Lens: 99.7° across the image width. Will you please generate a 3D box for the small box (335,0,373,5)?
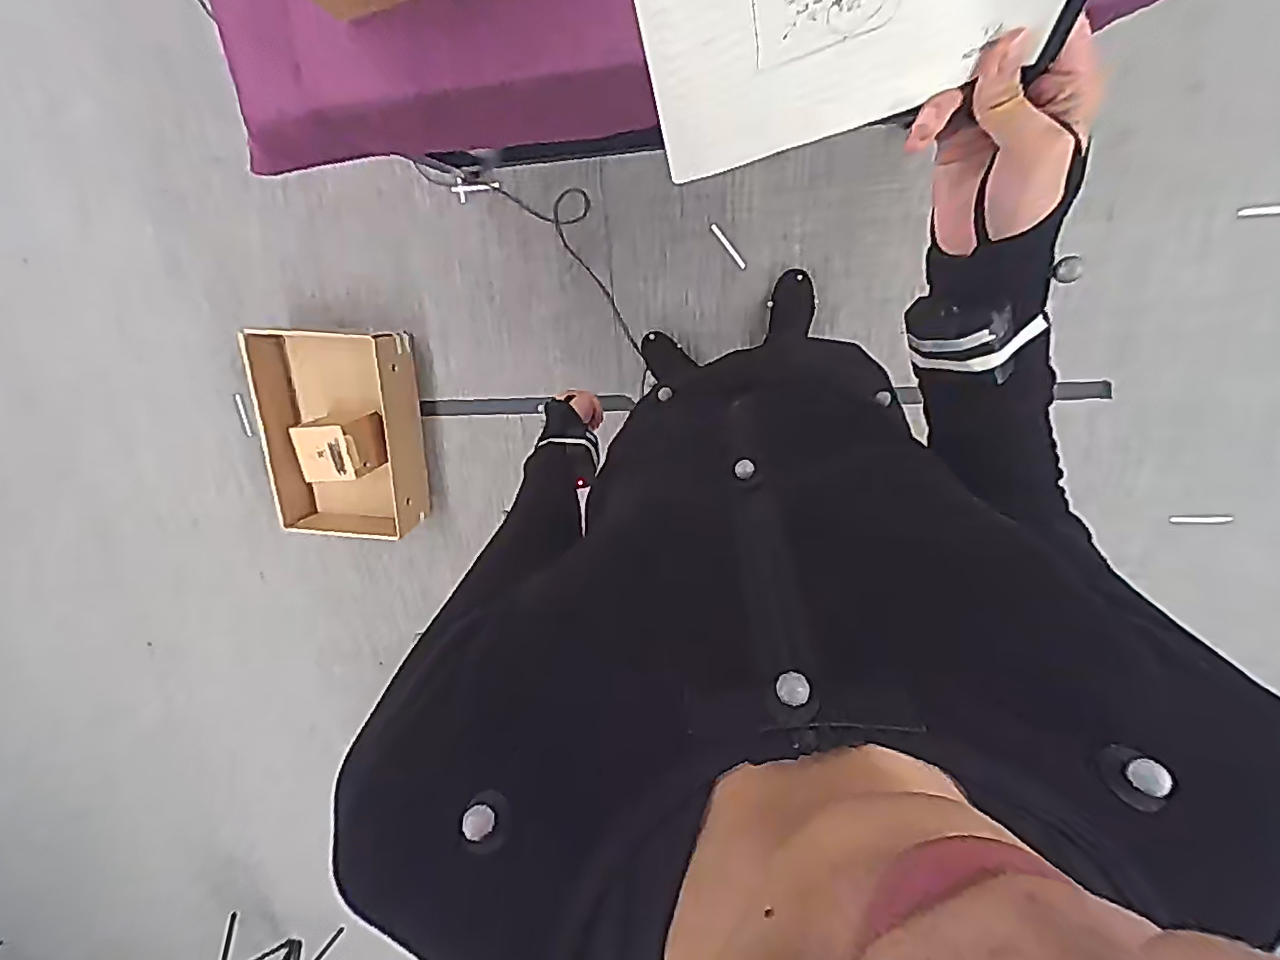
[{"bbox_3d":[-0.345,-0.685,0.610,0.168,0.176,0.179,-9,109,10],"label":"small box"}]
